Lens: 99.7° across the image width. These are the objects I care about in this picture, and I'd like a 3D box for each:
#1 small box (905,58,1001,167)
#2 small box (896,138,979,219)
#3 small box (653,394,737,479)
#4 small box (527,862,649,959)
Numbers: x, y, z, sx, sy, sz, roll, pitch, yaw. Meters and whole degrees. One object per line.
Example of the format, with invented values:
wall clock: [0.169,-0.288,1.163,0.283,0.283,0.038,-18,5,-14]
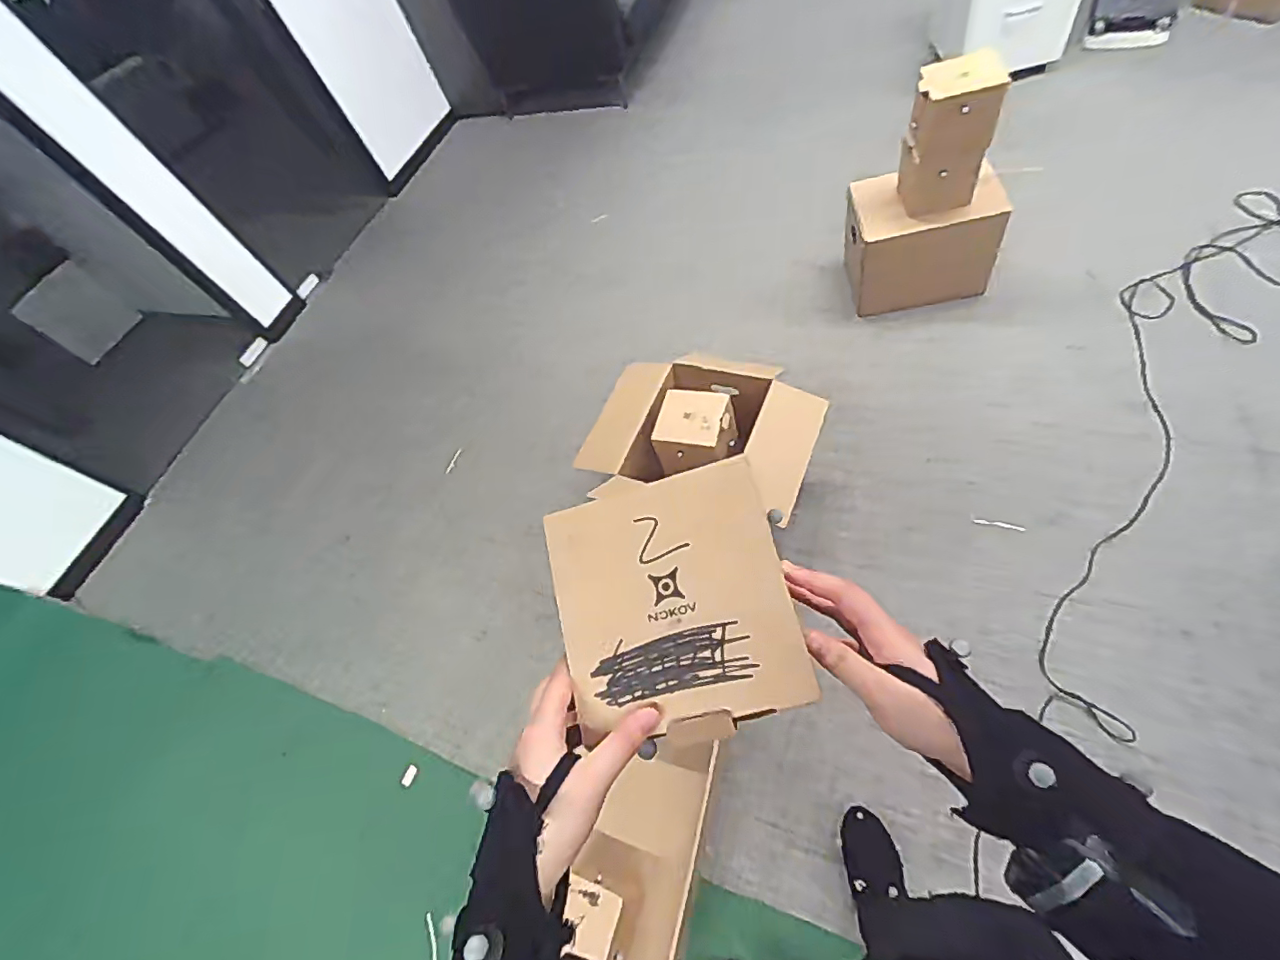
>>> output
small box: [0.837,-0.989,1.465,0.179,0.176,0.168,-7,59,15]
small box: [0.869,-0.907,1.603,0.179,0.176,0.168,-7,59,14]
small box: [0.157,-0.117,1.484,0.179,0.176,0.168,8,64,22]
small box: [-0.096,0.903,1.090,0.168,0.176,0.179,8,61,24]
